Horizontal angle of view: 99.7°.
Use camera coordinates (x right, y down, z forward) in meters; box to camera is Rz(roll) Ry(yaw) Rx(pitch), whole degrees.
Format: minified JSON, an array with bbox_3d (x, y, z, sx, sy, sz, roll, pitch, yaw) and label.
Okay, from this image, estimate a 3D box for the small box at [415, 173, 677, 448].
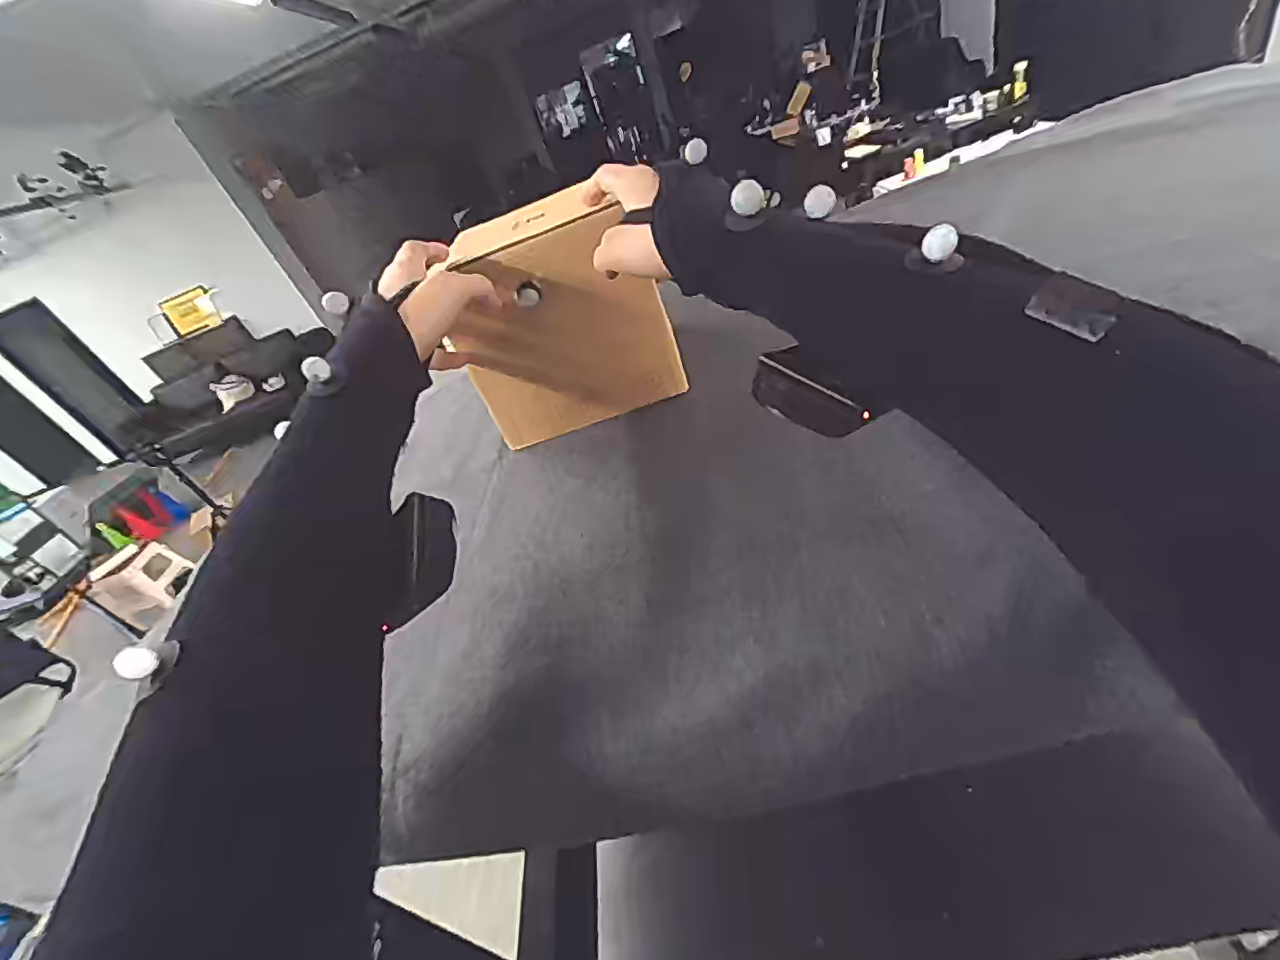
[{"bbox_3d":[-0.070,-0.158,0.510,0.179,0.176,0.168,-18,36,9],"label":"small box"}]
